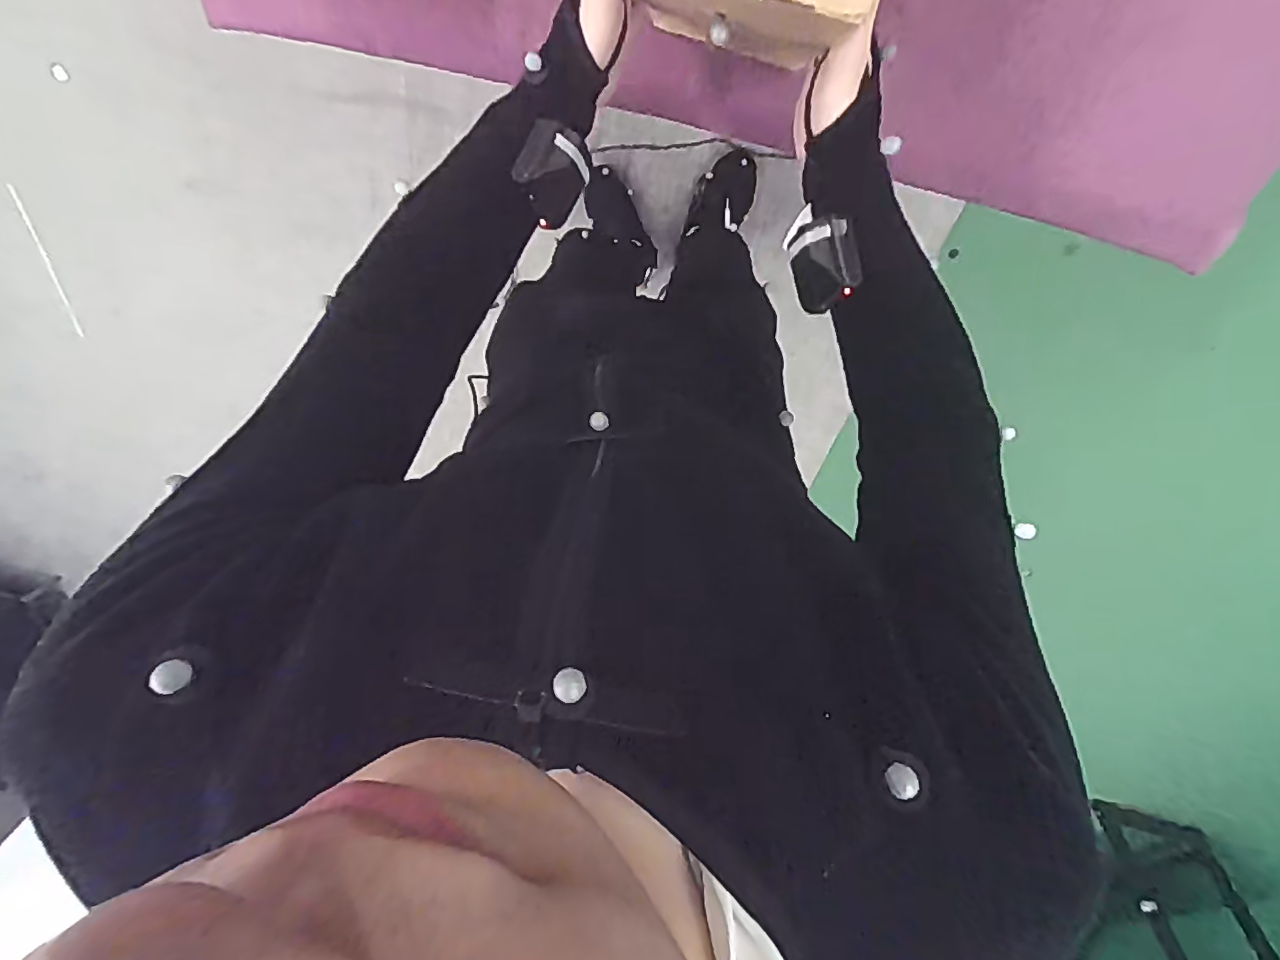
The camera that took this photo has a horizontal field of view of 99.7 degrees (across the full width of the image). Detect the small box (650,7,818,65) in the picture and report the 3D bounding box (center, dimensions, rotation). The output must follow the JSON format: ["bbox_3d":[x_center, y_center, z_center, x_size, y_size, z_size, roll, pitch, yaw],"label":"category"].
[{"bbox_3d":[0.099,-0.486,0.458,0.168,0.176,0.179,16,124,-2],"label":"small box"}]

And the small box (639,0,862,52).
[{"bbox_3d":[0.075,-0.393,0.324,0.168,0.176,0.179,16,124,-1],"label":"small box"}]
